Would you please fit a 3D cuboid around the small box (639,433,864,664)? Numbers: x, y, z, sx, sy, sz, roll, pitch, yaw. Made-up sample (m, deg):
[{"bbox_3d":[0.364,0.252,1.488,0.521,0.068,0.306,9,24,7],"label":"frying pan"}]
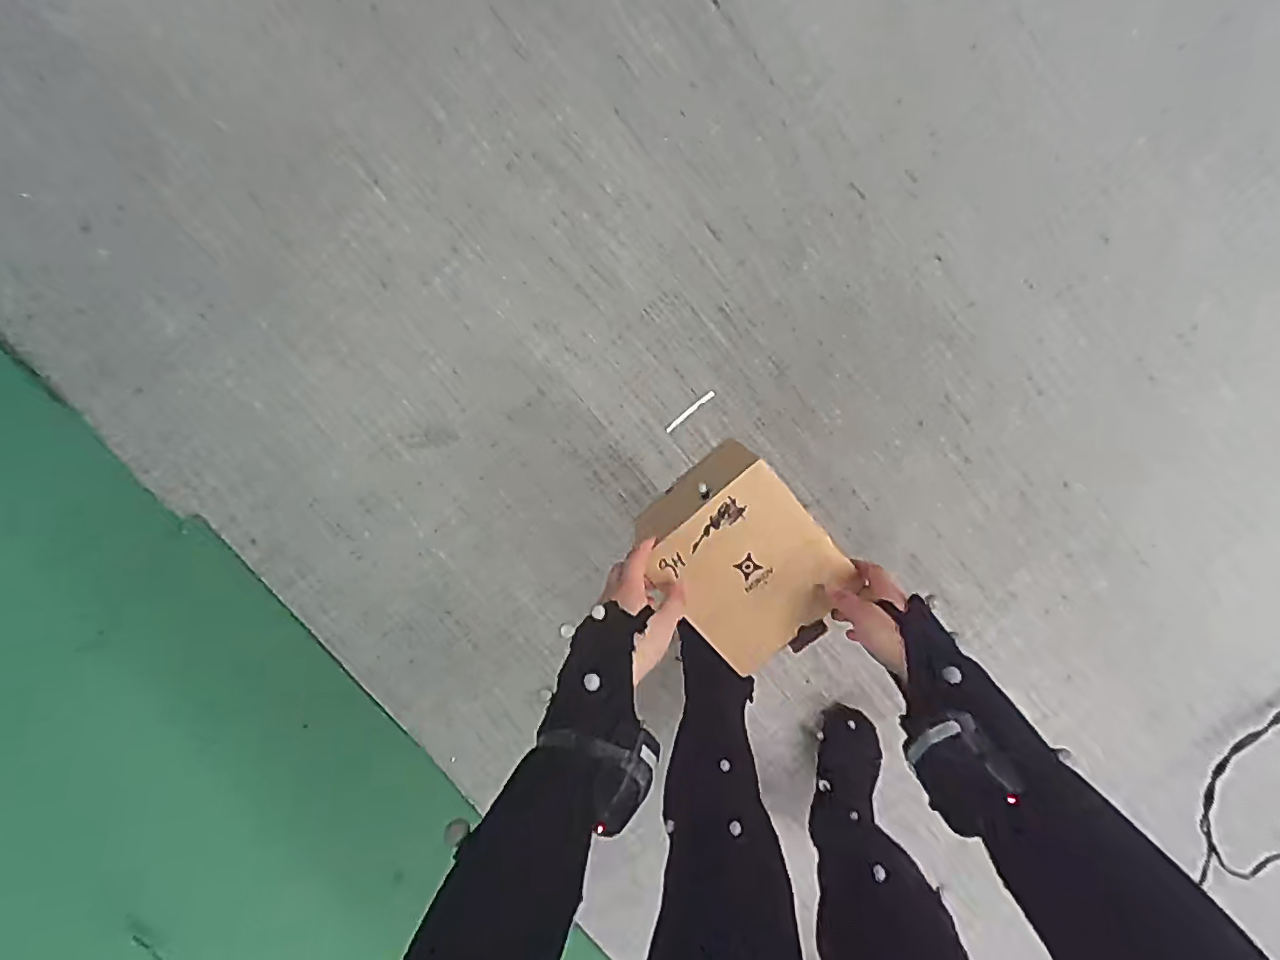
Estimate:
[{"bbox_3d":[0.115,0.066,0.628,0.168,0.176,0.179,-40,101,8],"label":"small box"}]
